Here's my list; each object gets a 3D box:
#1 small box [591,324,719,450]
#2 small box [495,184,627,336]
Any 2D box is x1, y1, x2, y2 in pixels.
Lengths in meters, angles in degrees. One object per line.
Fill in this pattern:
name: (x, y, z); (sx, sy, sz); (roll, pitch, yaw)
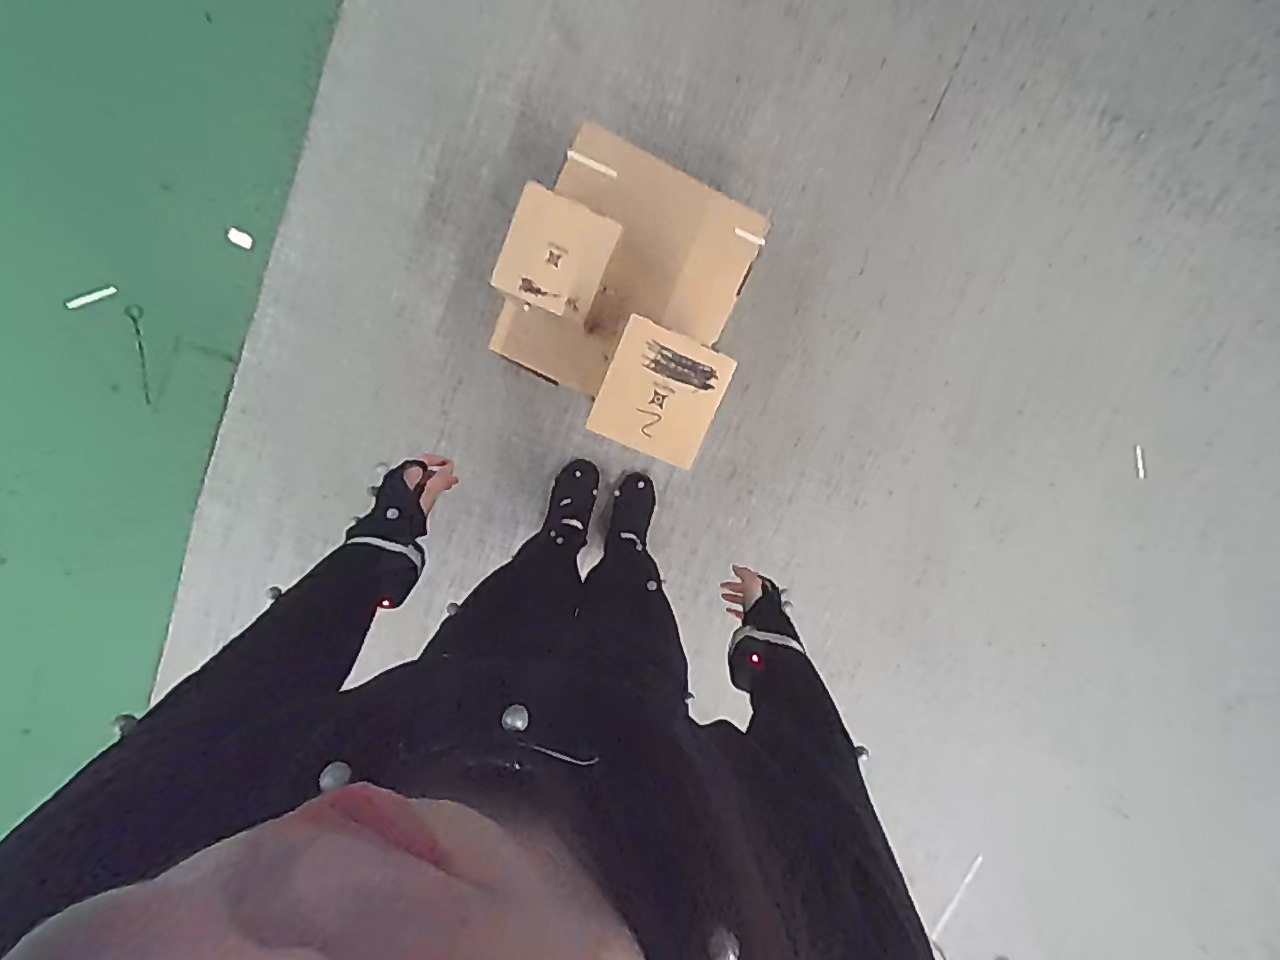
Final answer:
small box: (0.020, -0.172, 1.000); (0.179, 0.176, 0.168); (22, 98, -8)
small box: (-0.135, -0.373, 0.951); (0.168, 0.176, 0.179); (23, 97, -7)
